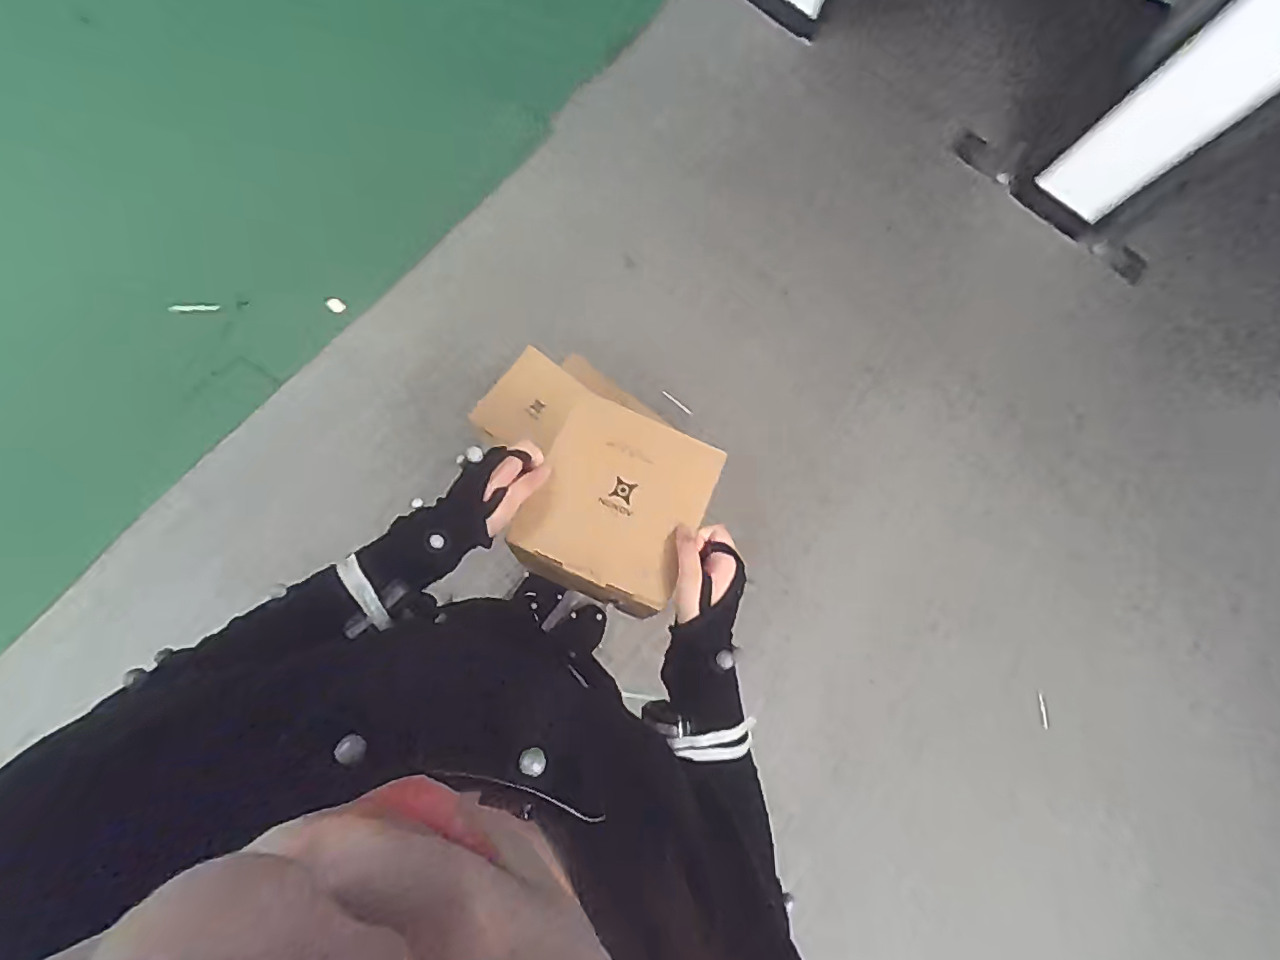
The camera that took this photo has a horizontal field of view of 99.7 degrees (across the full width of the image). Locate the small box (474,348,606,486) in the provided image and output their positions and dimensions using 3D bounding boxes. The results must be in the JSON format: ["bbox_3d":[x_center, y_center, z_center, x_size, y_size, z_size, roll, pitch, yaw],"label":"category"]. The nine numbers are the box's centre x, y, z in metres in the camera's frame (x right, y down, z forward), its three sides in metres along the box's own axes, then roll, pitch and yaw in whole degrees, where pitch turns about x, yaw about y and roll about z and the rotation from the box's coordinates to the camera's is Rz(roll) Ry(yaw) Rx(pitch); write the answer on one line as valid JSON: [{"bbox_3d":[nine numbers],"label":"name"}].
[{"bbox_3d":[-0.185,-0.111,1.031,0.168,0.176,0.179,38,79,1],"label":"small box"}]
